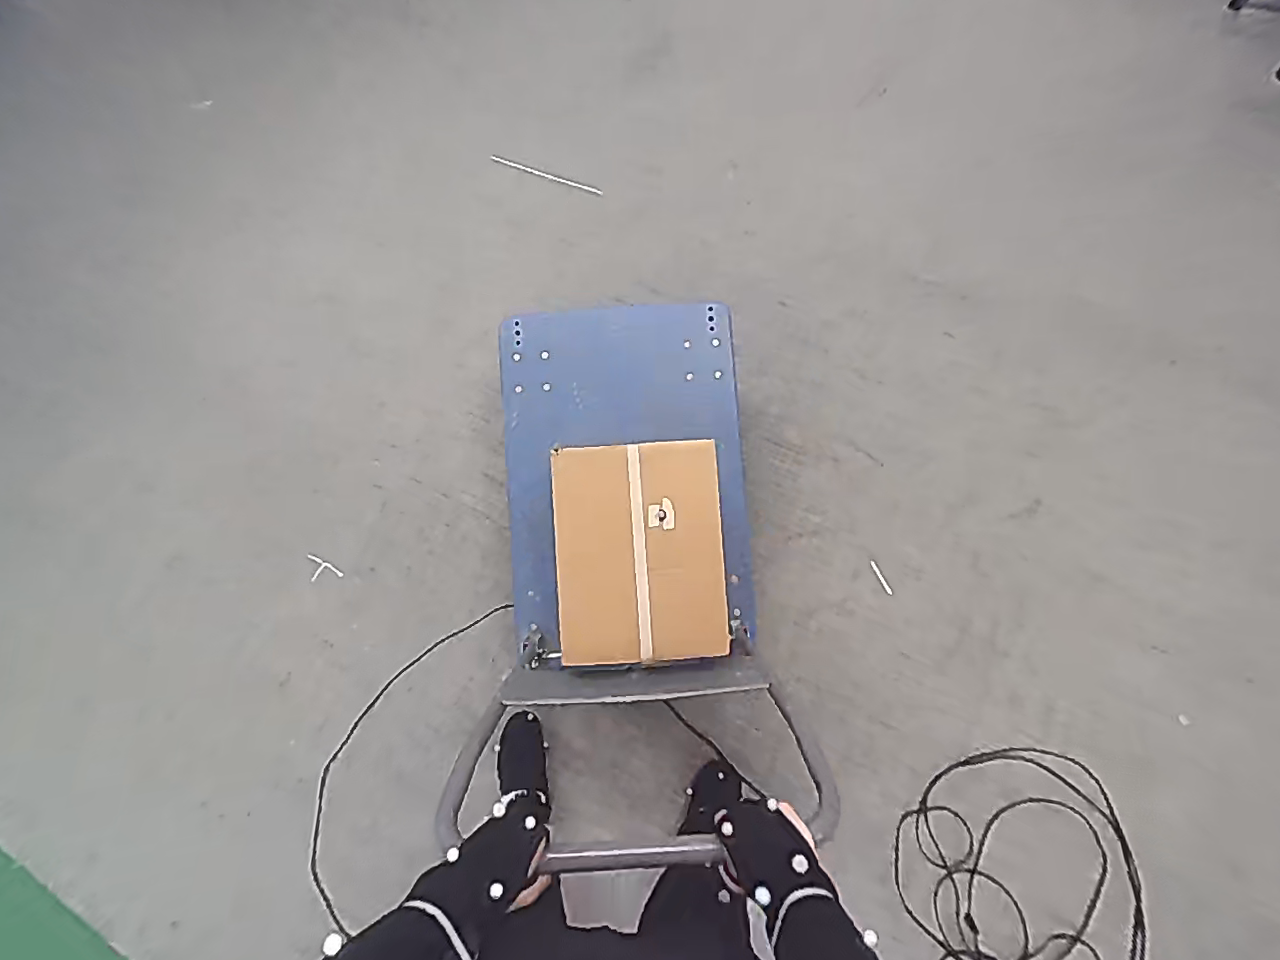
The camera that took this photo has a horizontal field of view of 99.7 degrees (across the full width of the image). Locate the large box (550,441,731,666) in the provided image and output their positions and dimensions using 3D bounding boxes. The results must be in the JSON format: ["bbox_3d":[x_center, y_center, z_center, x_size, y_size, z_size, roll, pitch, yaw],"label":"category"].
[{"bbox_3d":[0.000,0.148,1.163,0.320,0.320,0.408,-5,86,-1],"label":"large box"}]
